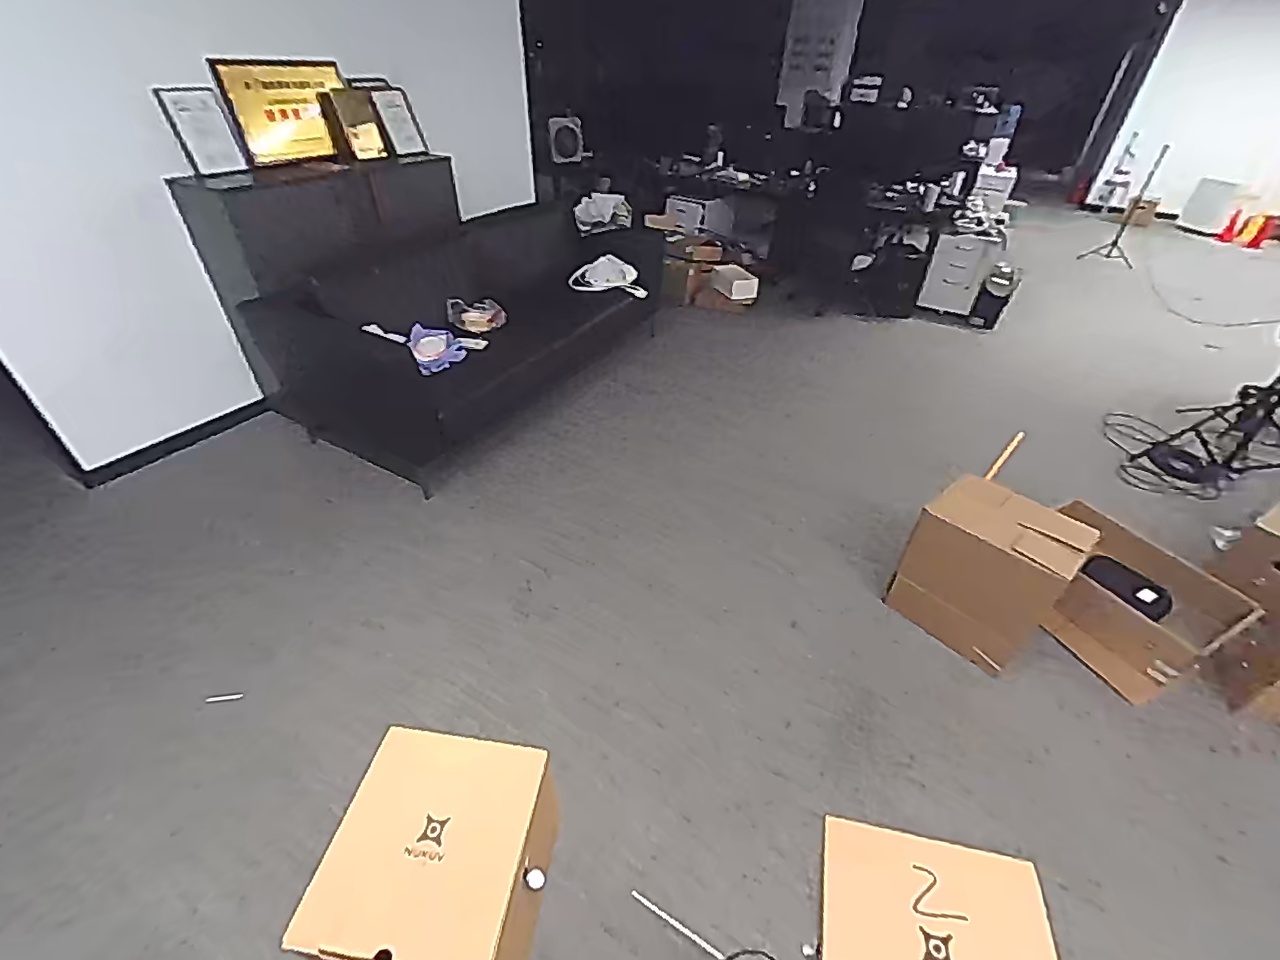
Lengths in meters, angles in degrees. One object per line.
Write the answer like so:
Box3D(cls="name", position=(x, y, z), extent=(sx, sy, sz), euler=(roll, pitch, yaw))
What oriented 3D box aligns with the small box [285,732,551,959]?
Box3D(cls="small box", position=(-0.188, 0.380, 0.526), extent=(0.168, 0.176, 0.179), euler=(6, 40, 6))
